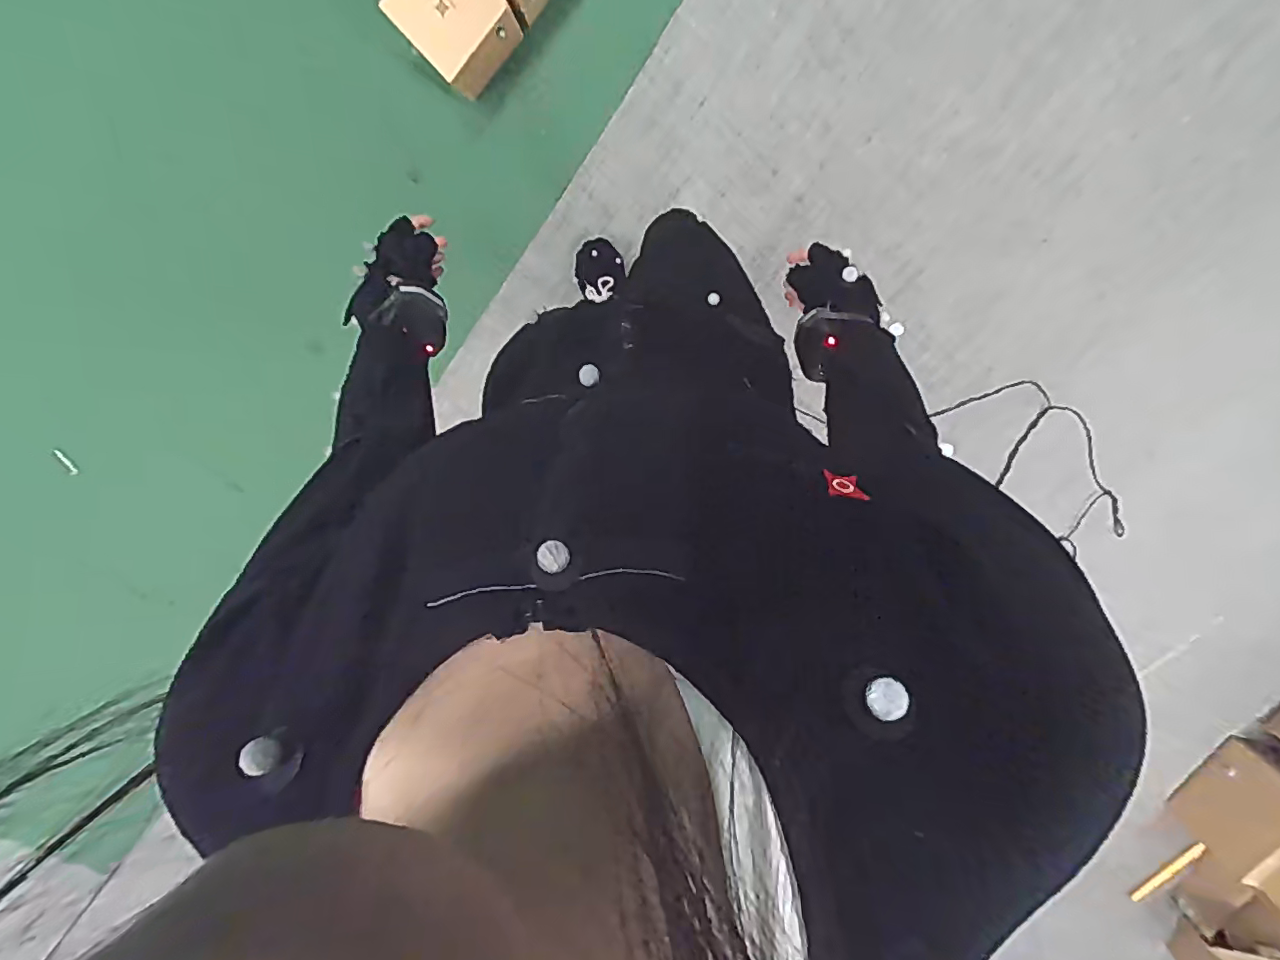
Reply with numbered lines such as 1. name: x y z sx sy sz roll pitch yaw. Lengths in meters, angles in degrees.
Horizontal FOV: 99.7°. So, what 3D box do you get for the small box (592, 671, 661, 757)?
1. small box: -0.049 0.768 1.786 0.168 0.176 0.179 27 110 -14
